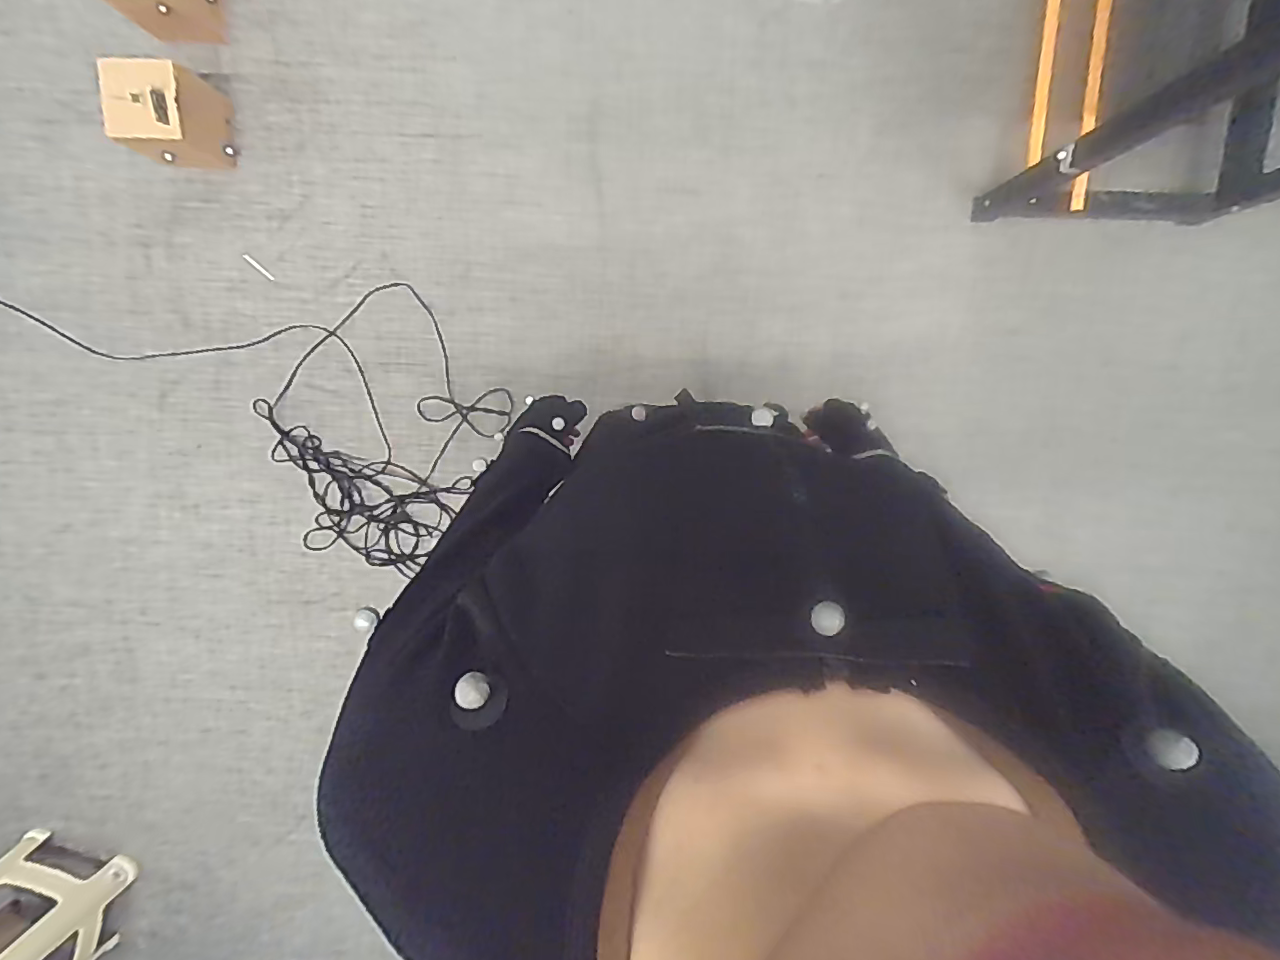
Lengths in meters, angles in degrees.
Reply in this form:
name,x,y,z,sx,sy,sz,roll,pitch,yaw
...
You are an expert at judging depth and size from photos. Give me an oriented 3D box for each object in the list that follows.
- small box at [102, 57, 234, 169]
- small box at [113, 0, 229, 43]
name,x,y,z,sx,sy,sz,roll,pitch,yaw
small box,-1.107,-0.863,1.287,0.179,0.176,0.168,2,98,1
small box,-1.097,-1.151,1.246,0.179,0.176,0.168,3,99,0
